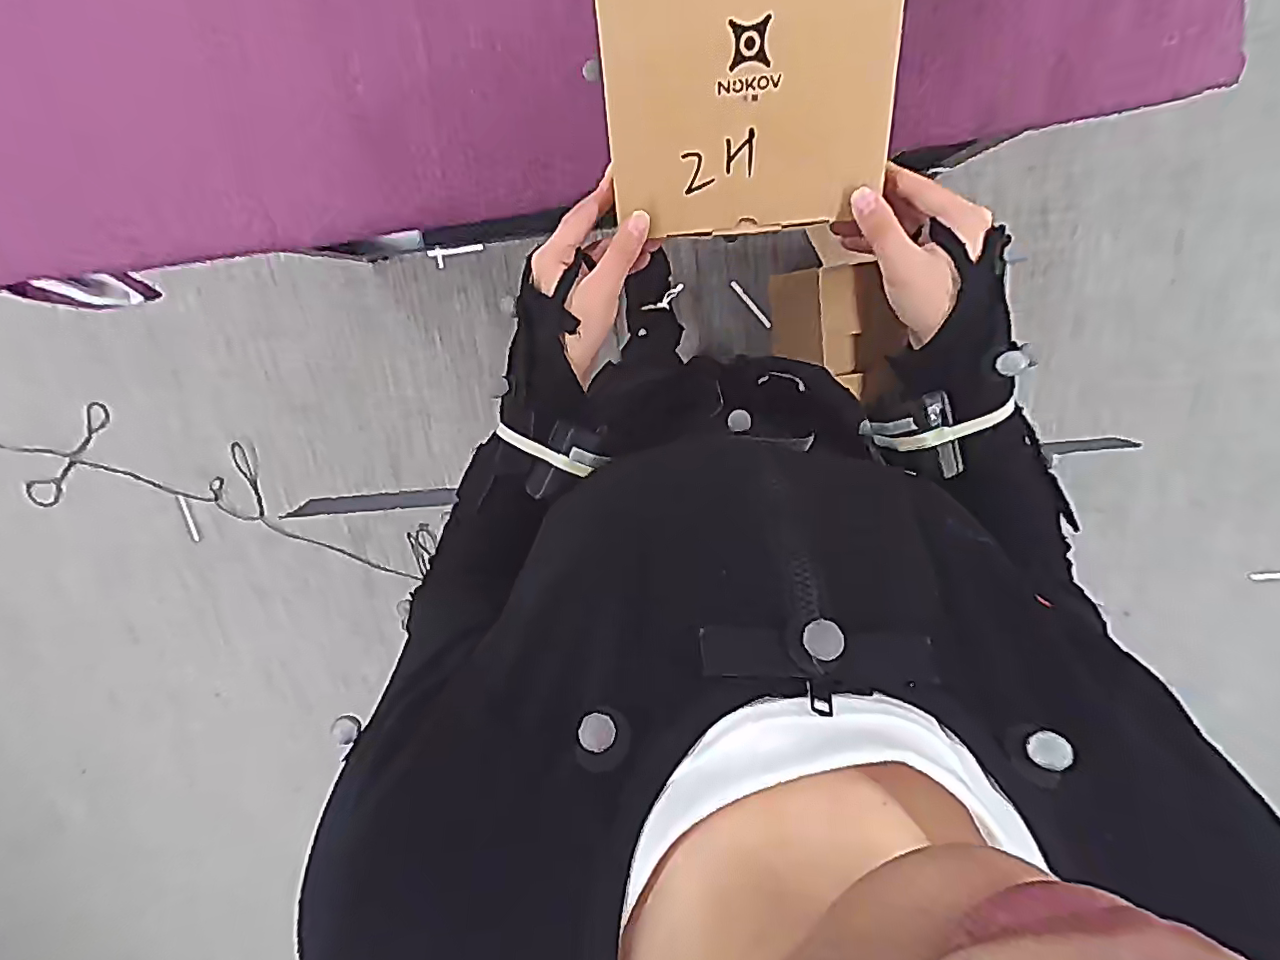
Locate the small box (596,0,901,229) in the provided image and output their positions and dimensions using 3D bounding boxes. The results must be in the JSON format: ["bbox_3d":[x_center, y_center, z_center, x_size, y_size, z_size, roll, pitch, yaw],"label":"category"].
[{"bbox_3d":[0.063,-0.276,0.369,0.168,0.176,0.179,-2,118,6],"label":"small box"}]
